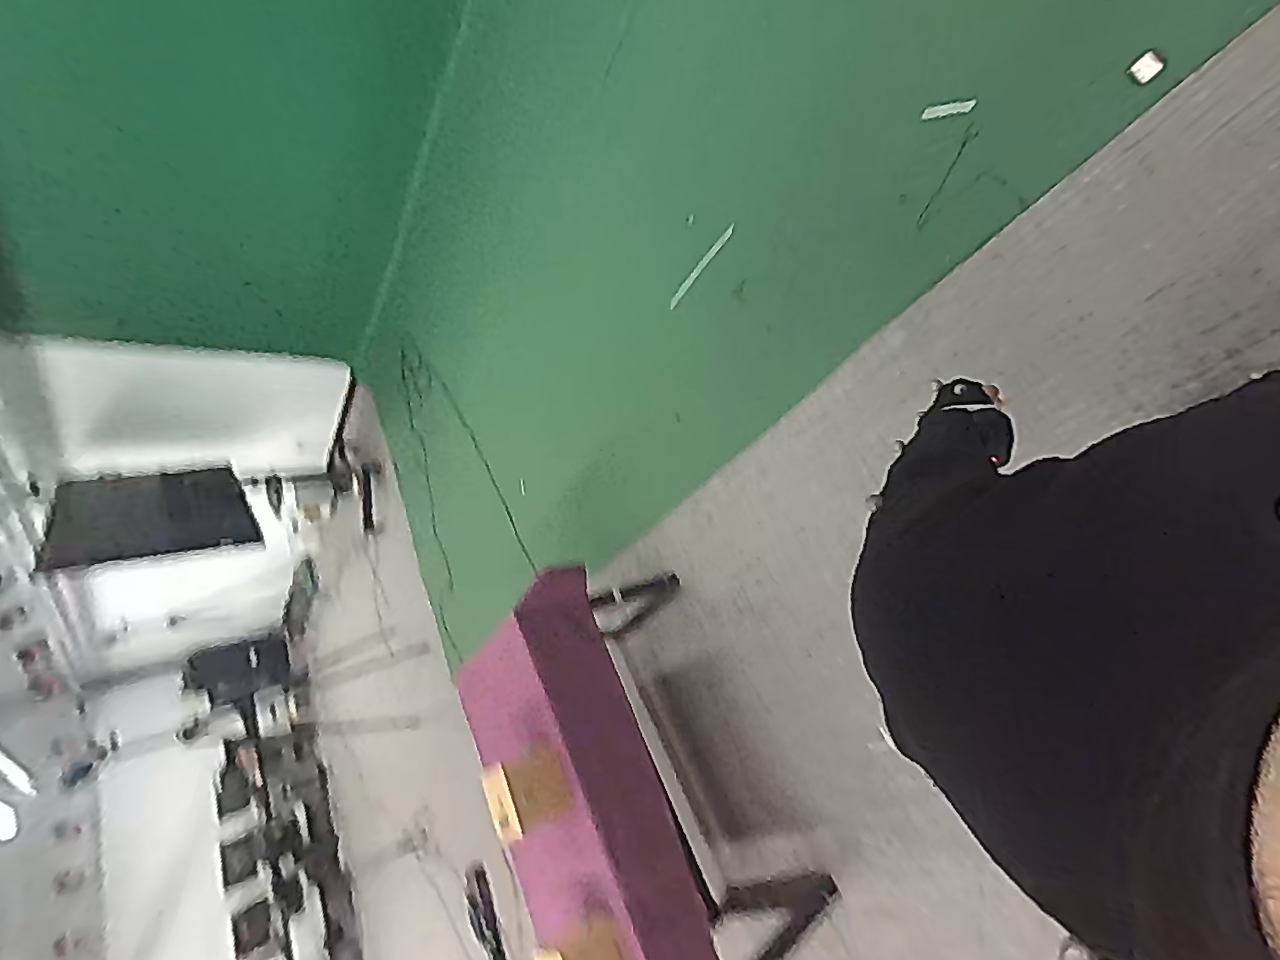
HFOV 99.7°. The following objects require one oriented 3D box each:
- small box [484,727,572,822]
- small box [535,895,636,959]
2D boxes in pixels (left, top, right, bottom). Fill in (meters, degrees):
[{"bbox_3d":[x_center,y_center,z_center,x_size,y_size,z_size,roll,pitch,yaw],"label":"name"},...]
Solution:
[{"bbox_3d":[-0.319,0.843,1.551,0.168,0.176,0.179,-45,62,41],"label":"small box"},{"bbox_3d":[-0.140,1.210,1.397,0.179,0.176,0.168,-45,63,42],"label":"small box"}]
